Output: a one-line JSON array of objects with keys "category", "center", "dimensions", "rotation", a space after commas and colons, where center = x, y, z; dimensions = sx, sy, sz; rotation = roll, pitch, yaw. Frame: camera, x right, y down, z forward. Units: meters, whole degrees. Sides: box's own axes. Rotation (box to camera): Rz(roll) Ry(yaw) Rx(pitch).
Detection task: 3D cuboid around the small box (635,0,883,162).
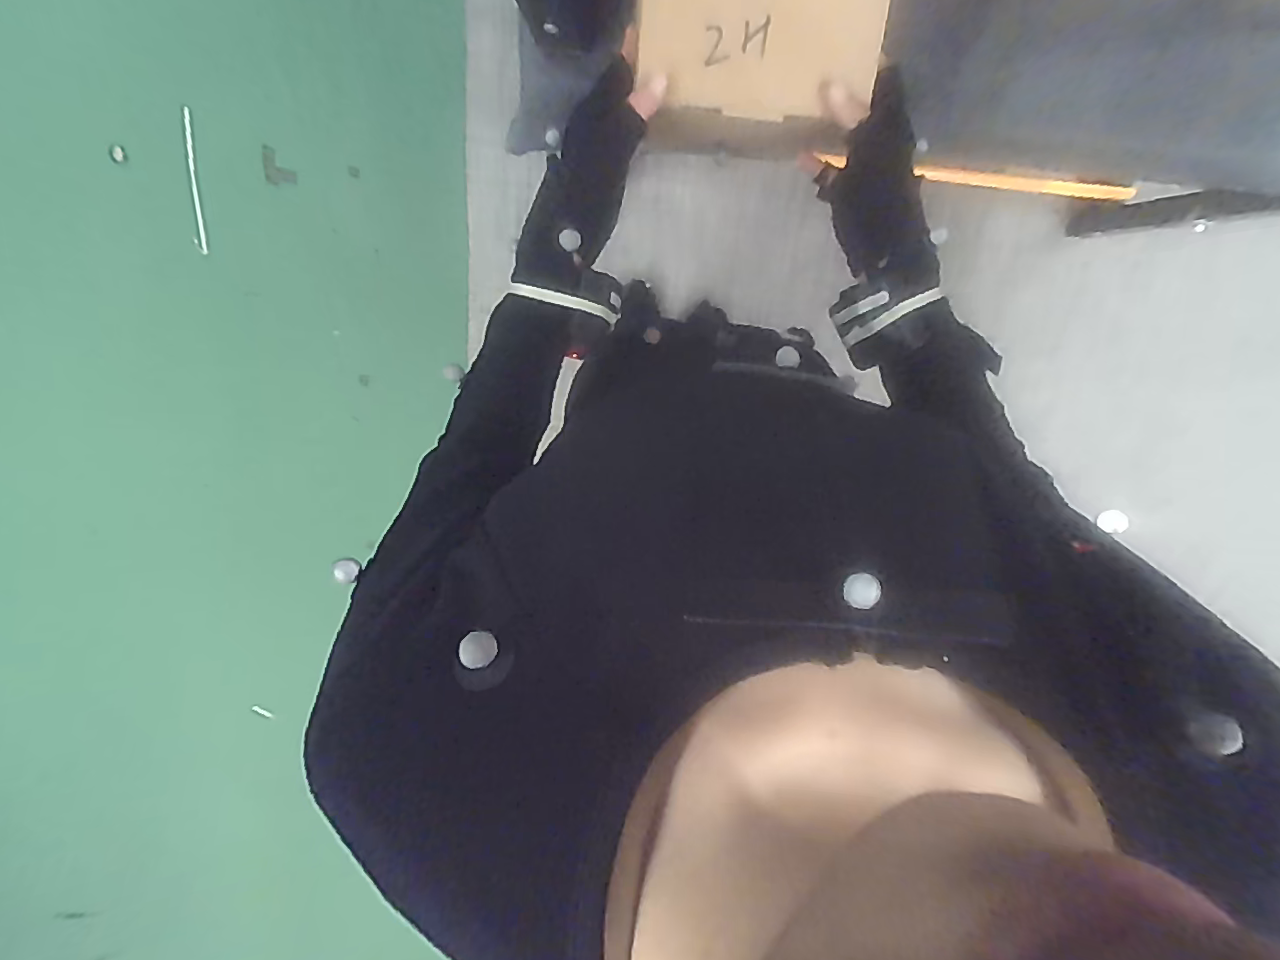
[{"category": "small box", "center": [0.084, -0.378, 0.434], "dimensions": [0.168, 0.176, 0.179], "rotation": [3, 111, -2]}]
